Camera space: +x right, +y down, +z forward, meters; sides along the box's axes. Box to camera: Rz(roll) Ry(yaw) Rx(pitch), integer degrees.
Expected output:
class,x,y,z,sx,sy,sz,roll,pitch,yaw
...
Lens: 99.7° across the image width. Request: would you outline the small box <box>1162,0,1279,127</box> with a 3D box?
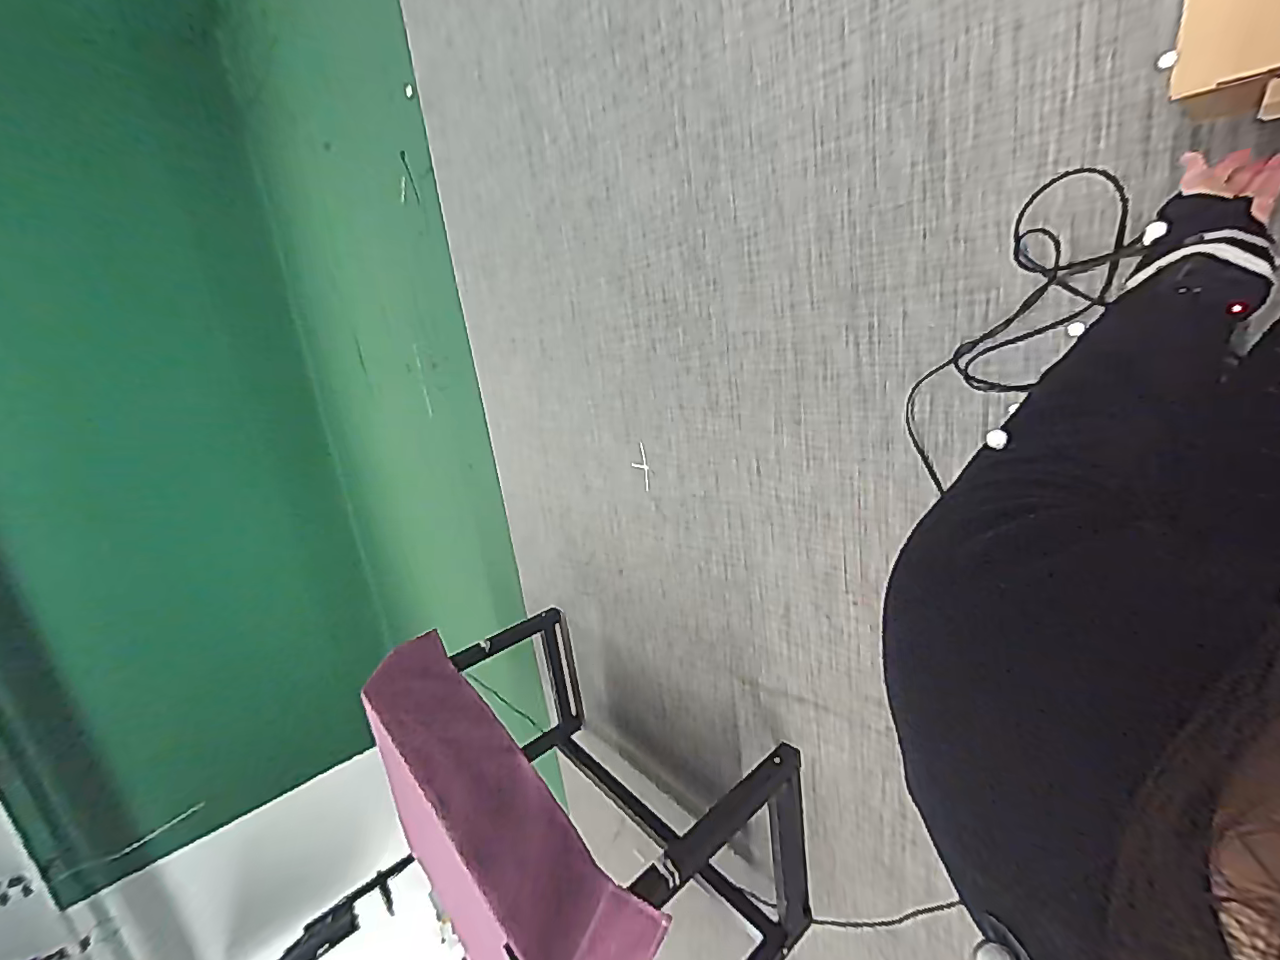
class,x,y,z,sx,sy,sz,roll,pitch,yaw
small box,0.594,-0.437,0.469,0.168,0.176,0.179,15,117,48
